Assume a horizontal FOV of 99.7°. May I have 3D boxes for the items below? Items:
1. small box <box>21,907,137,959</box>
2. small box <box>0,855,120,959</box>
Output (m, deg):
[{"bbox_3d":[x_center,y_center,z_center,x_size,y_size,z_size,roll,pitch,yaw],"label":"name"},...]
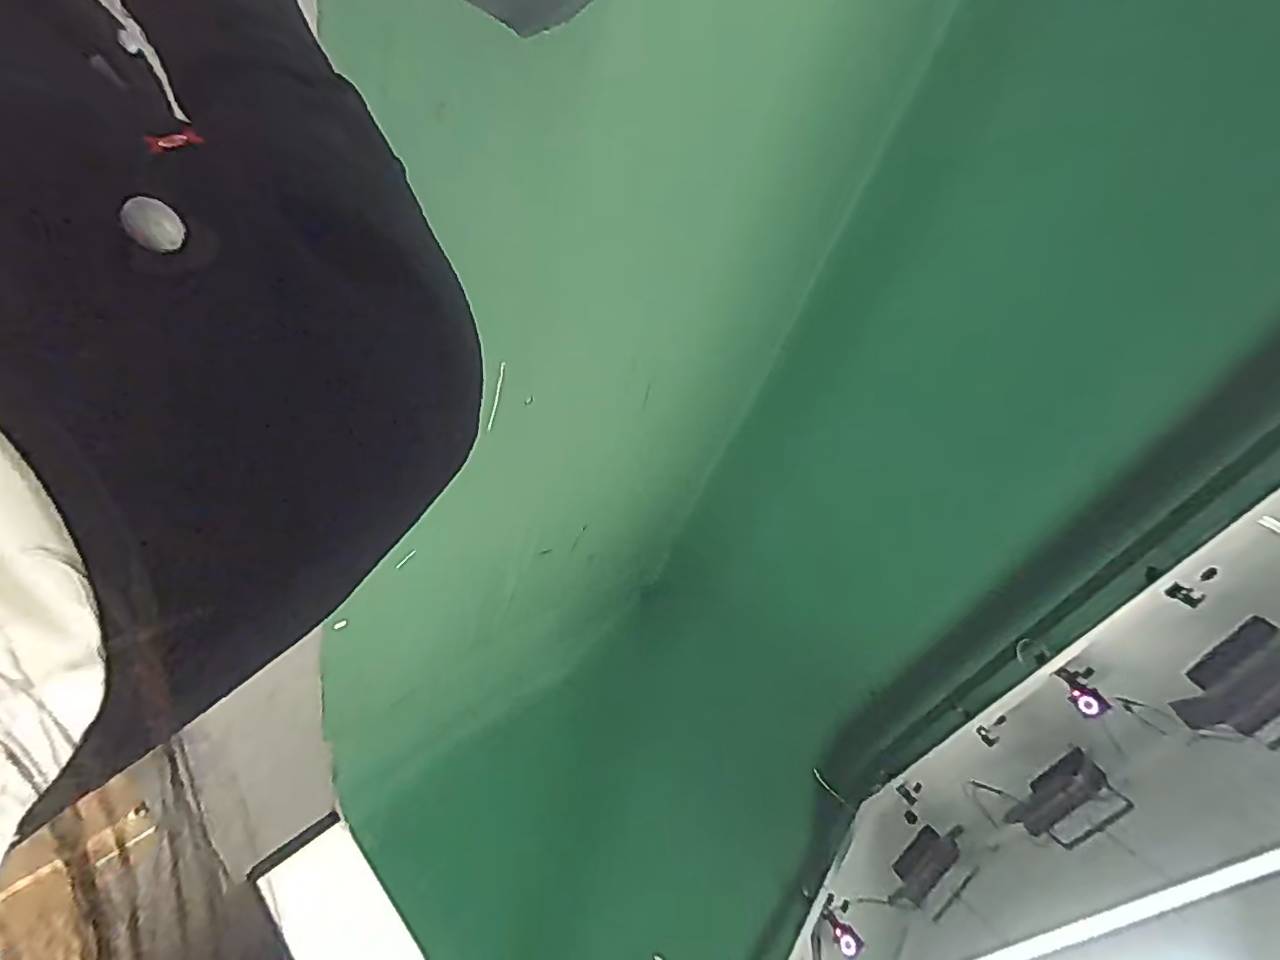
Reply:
[{"bbox_3d":[-1.510,1.308,1.459,0.168,0.176,0.179,-29,147,-44],"label":"small box"},{"bbox_3d":[-1.626,1.211,1.521,0.179,0.176,0.168,-26,146,-43],"label":"small box"}]
